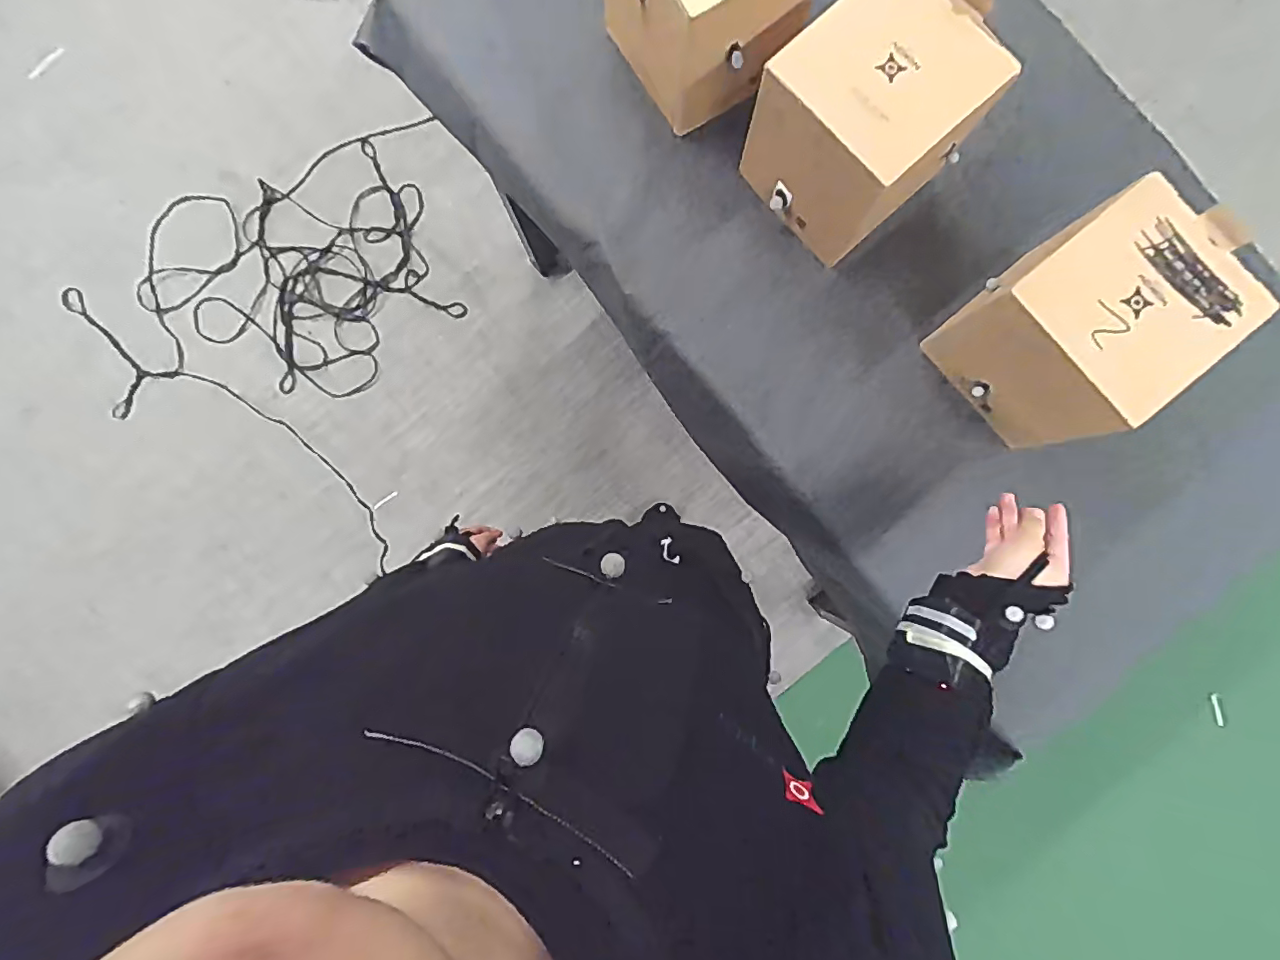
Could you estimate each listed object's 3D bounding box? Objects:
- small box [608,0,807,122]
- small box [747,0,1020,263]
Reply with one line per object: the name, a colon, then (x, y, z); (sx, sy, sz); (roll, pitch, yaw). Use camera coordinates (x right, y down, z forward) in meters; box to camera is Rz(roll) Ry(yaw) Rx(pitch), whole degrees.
small box: (0.074, -0.540, 0.592); (0.168, 0.176, 0.179); (-32, 86, -2)
small box: (0.238, -0.378, 0.581); (0.179, 0.176, 0.168); (-43, 86, -2)
